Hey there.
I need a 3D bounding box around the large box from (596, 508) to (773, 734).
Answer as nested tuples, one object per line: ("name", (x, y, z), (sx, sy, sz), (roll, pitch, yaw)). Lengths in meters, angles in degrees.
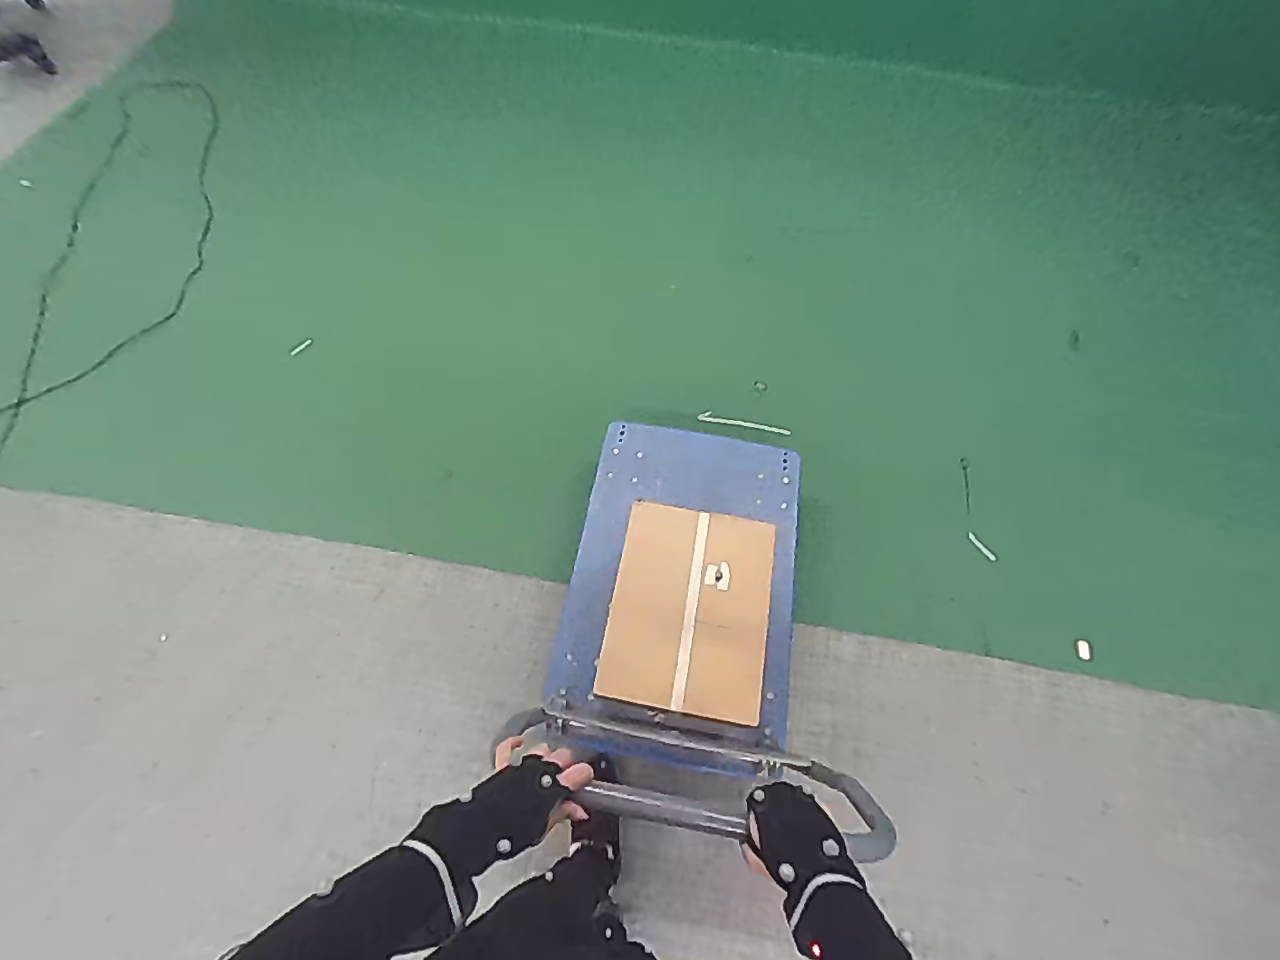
("large box", (0.099, 0.324, 1.208), (0.320, 0.320, 0.408), (10, 64, 4))
